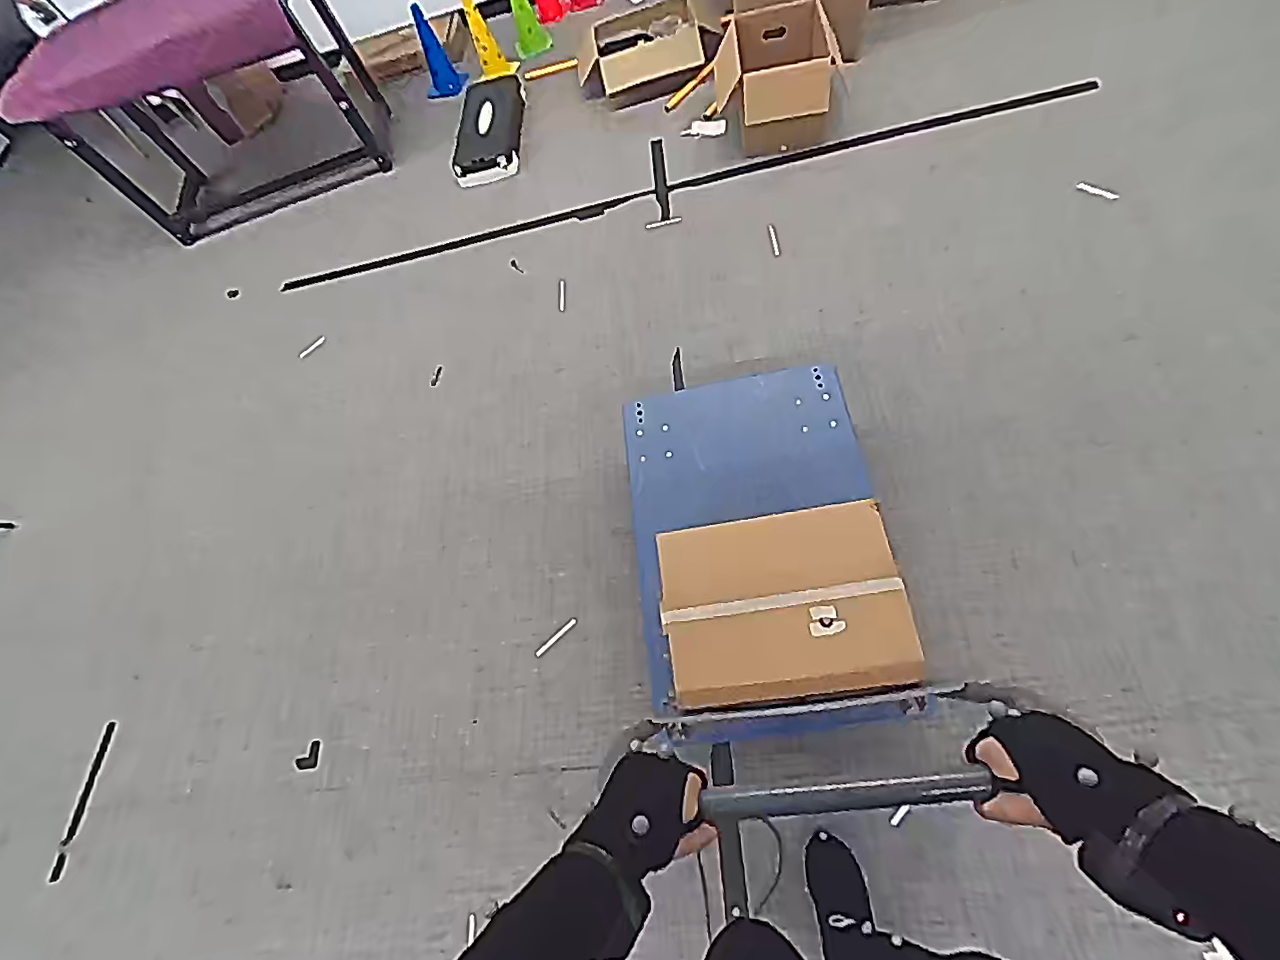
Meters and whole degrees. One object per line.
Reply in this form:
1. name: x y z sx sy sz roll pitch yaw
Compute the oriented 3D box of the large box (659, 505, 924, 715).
1. large box: 0.274 0.278 1.084 0.408 0.320 0.320 -11 66 7
